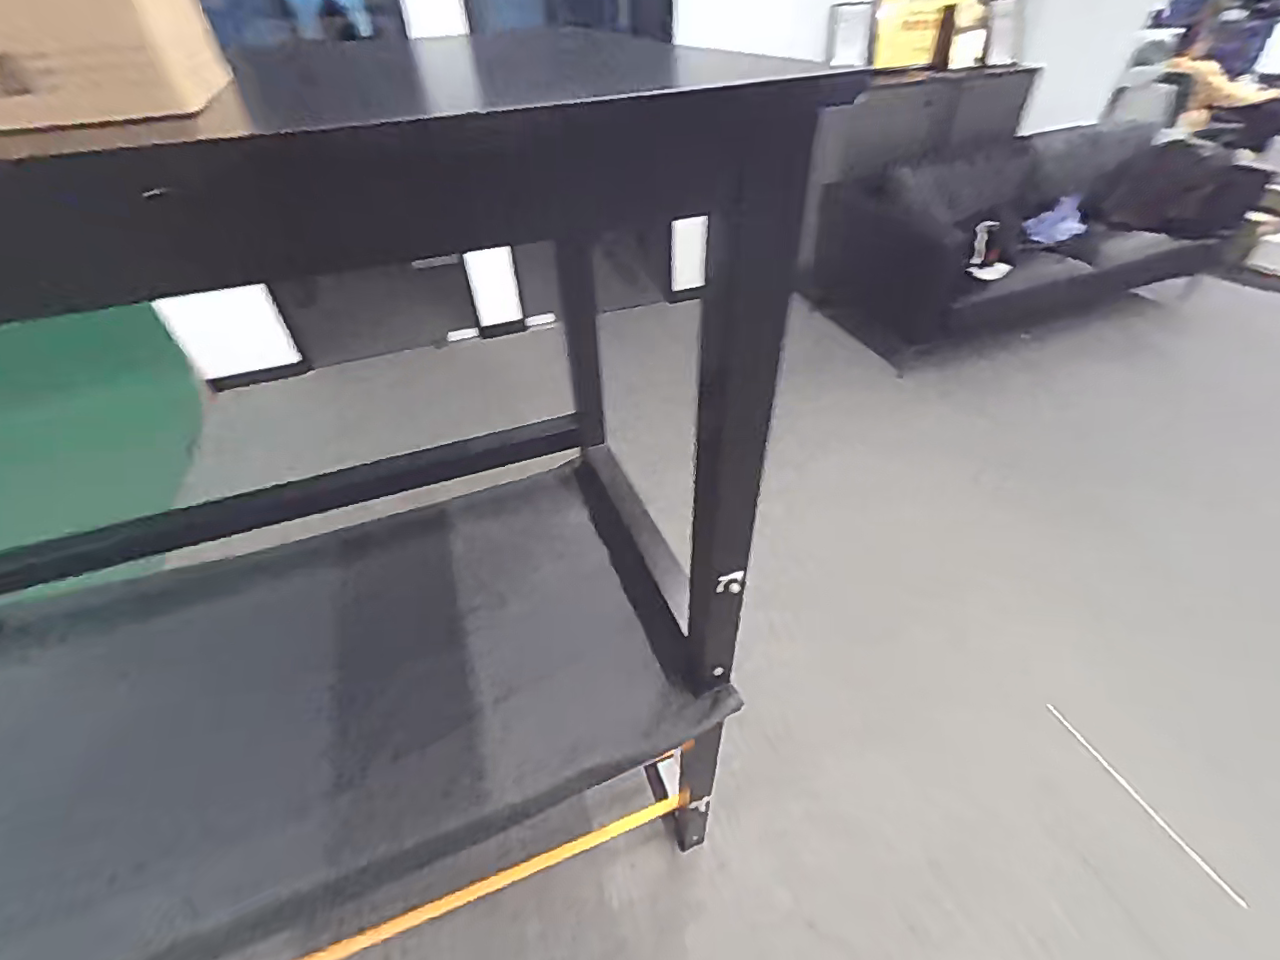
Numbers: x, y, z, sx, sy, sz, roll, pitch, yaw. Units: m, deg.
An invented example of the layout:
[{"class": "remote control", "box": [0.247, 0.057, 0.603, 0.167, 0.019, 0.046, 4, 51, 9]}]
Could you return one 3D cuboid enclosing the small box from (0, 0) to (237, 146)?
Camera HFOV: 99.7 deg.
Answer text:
[{"class": "small box", "box": [-0.325, -0.263, 0.253, 0.168, 0.176, 0.179, -19, 44, -17]}]
